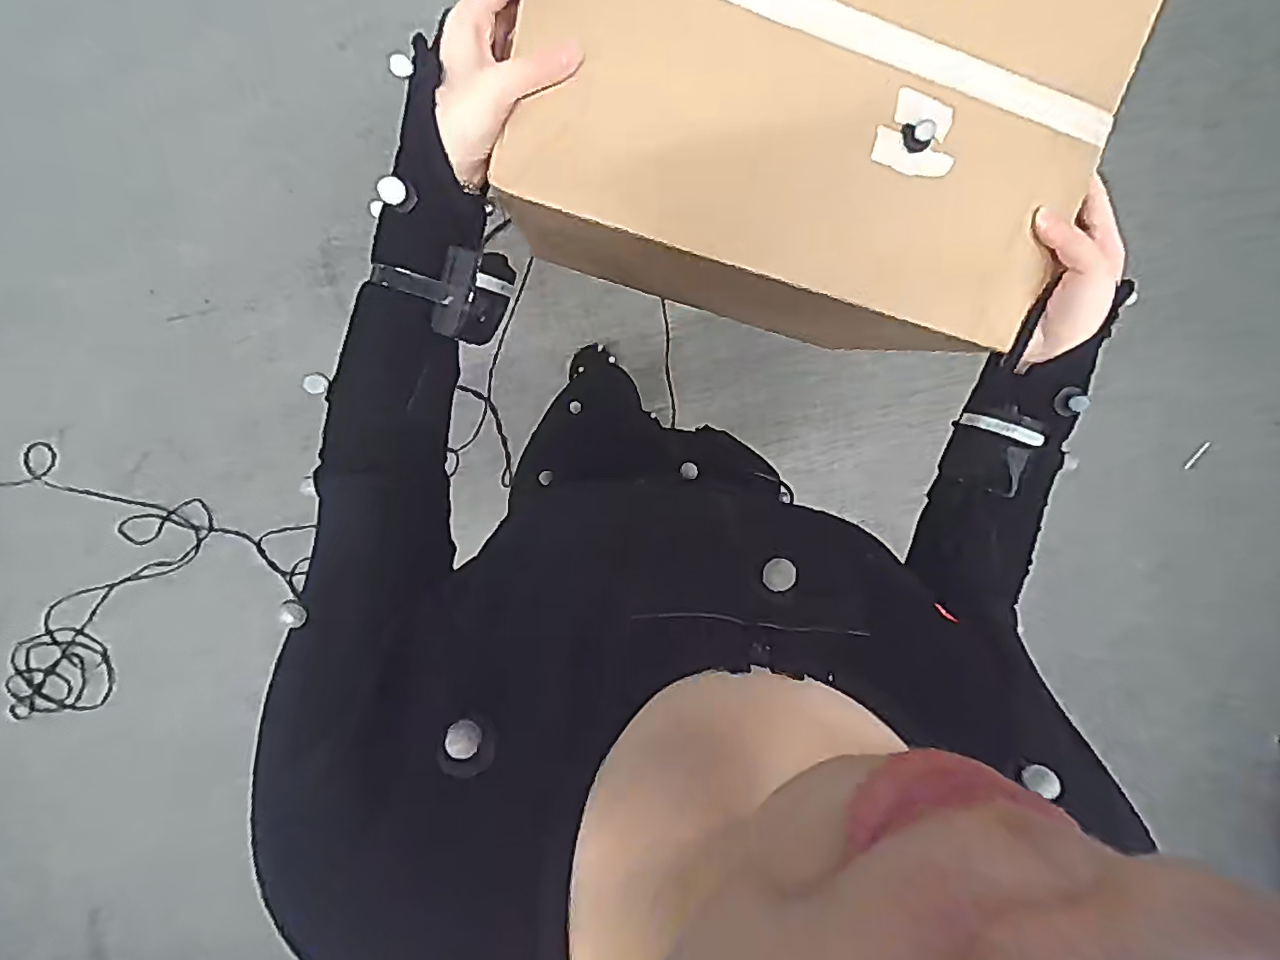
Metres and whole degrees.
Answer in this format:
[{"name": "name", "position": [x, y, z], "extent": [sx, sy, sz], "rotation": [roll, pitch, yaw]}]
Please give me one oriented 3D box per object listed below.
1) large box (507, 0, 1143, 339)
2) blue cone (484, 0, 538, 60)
[{"name": "large box", "position": [0.118, -0.335, 0.504], "extent": [0.408, 0.320, 0.320], "rotation": [14, 103, -10]}, {"name": "blue cone", "position": [-0.275, -1.114, 1.162], "extent": [0.193, 0.380, 0.192], "rotation": [-4, 97, -2]}]
